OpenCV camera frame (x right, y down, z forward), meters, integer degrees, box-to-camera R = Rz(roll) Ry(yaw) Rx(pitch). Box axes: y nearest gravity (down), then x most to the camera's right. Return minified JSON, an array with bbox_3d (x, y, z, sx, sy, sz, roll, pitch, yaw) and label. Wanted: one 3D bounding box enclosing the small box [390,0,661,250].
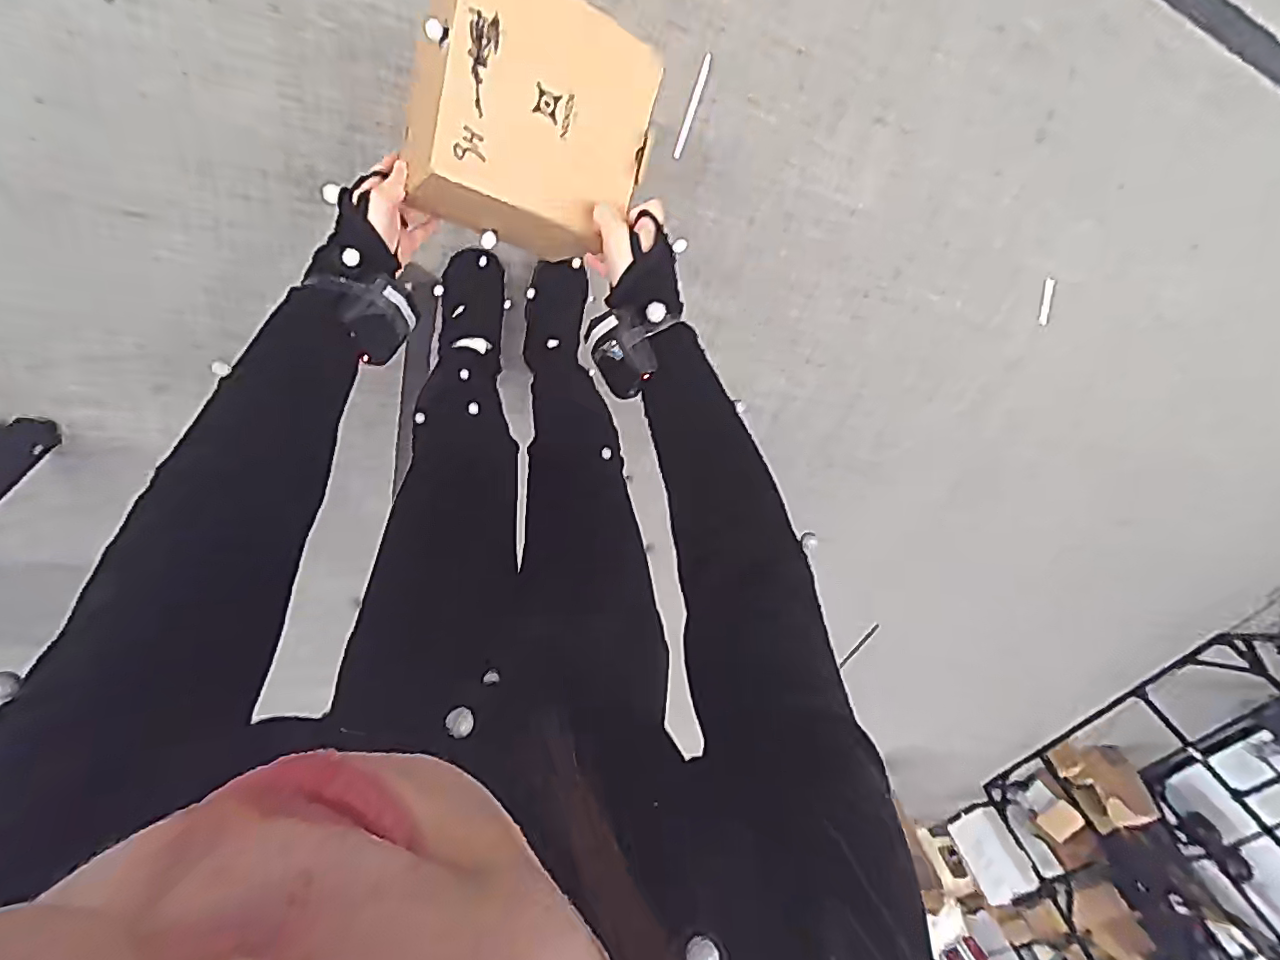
[{"bbox_3d":[-0.113,-0.324,0.501,0.179,0.176,0.168,8,101,-35],"label":"small box"}]
